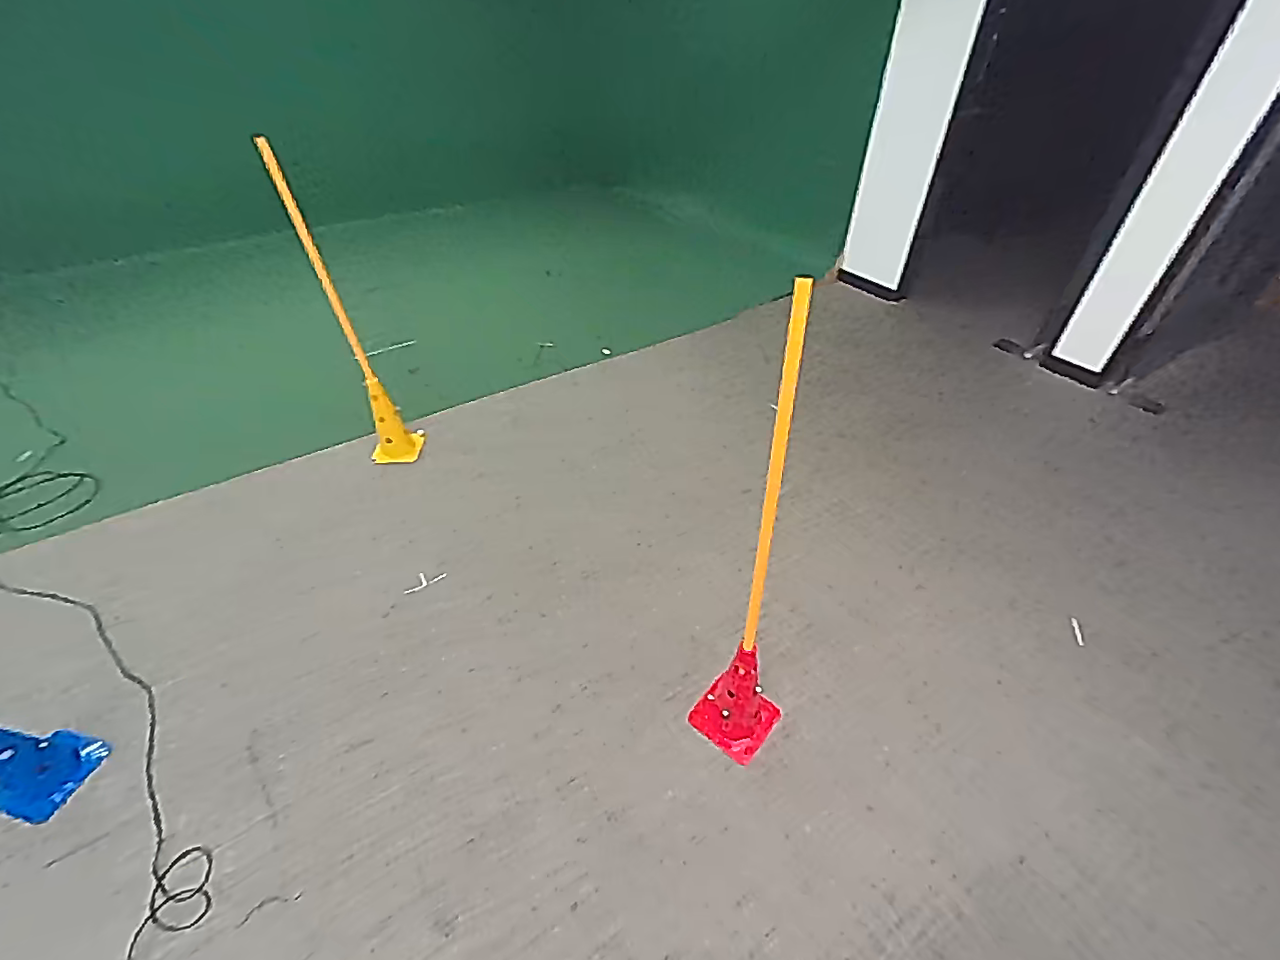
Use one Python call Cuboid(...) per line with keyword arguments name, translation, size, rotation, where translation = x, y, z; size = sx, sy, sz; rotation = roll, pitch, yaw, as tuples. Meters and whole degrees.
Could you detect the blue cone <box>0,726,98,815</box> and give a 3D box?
Cuboid(name="blue cone", translation=(-1.551, 0.641, 1.291), size=(0.192, 0.380, 0.193), rotation=(9, 46, 9))
